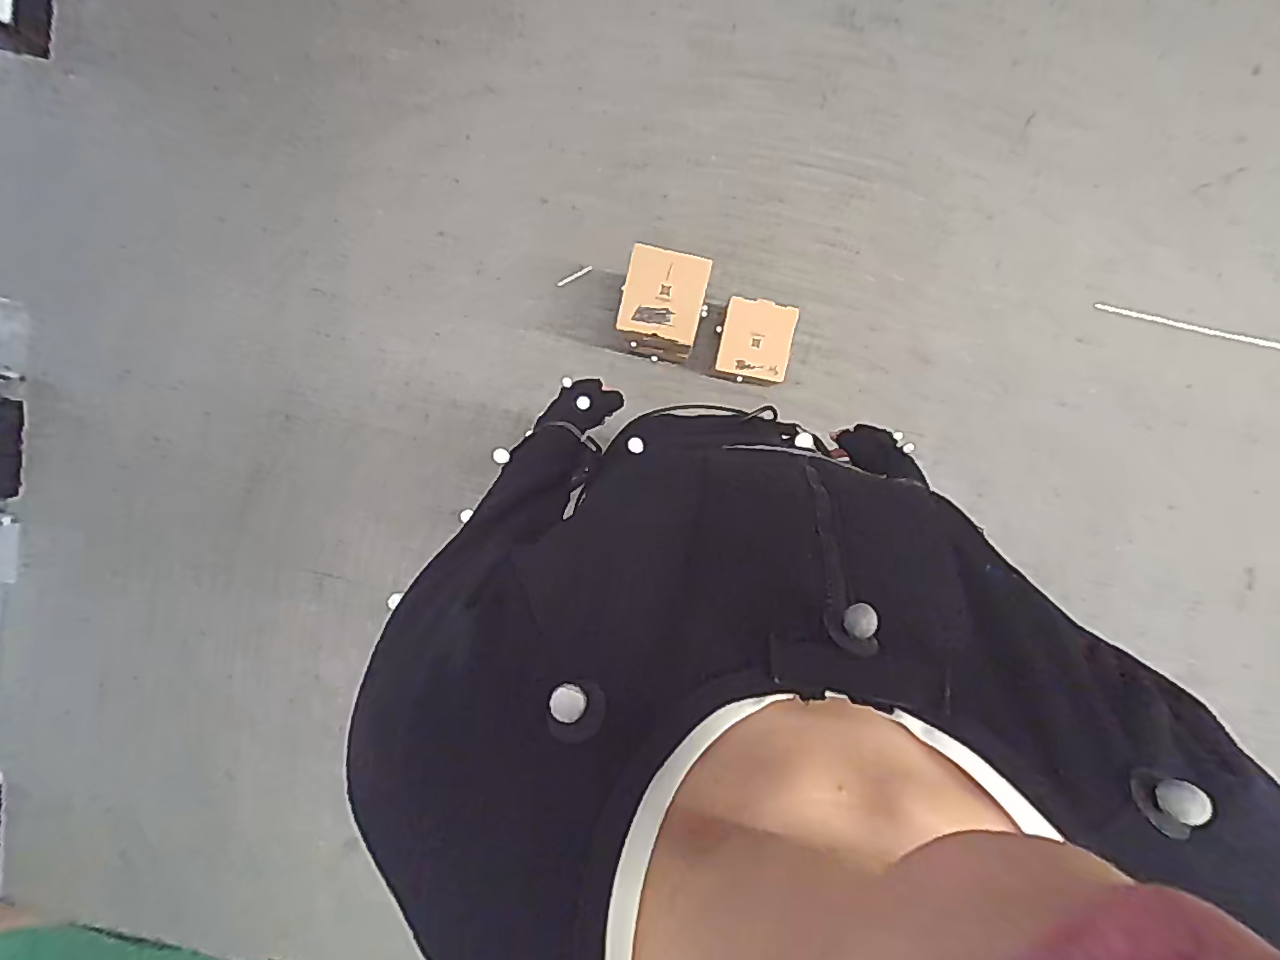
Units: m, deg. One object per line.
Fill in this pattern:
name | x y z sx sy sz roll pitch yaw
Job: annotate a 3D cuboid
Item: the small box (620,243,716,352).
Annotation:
small box | 0.062 -0.385 1.173 0.168 0.176 0.179 13 97 2
